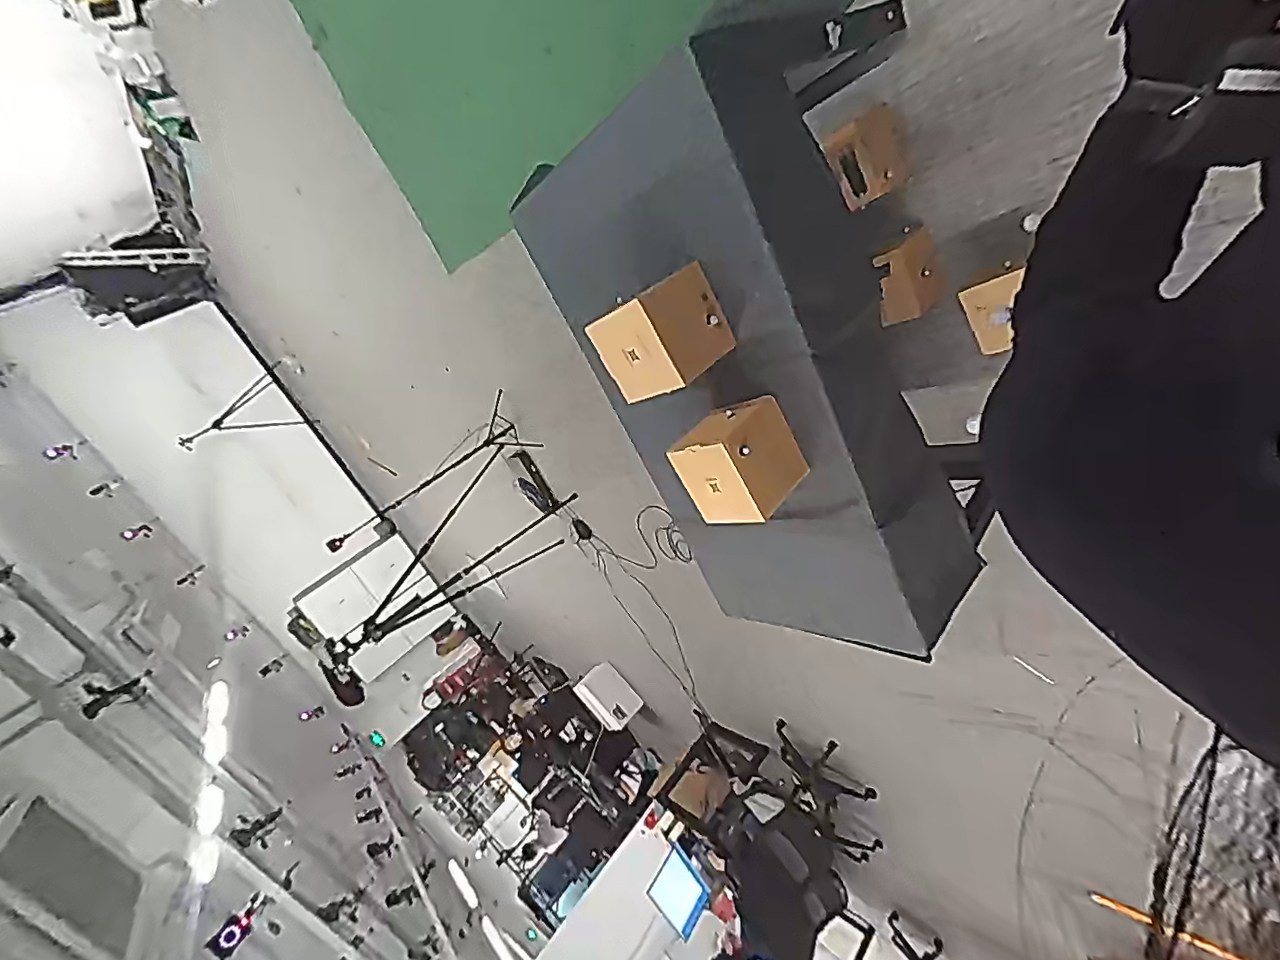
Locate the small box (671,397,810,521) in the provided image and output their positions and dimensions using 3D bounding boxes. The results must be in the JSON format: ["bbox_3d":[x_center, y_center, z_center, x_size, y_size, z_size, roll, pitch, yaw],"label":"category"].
[{"bbox_3d":[0.202,-0.038,1.064,0.168,0.176,0.179,-8,118,56],"label":"small box"}]

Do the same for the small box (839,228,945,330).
[{"bbox_3d":[0.648,-0.517,1.383,0.168,0.176,0.179,-4,123,54],"label":"small box"}]

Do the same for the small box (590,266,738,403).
[{"bbox_3d":[0.046,-0.265,1.002,0.179,0.176,0.168,-5,122,55],"label":"small box"}]
